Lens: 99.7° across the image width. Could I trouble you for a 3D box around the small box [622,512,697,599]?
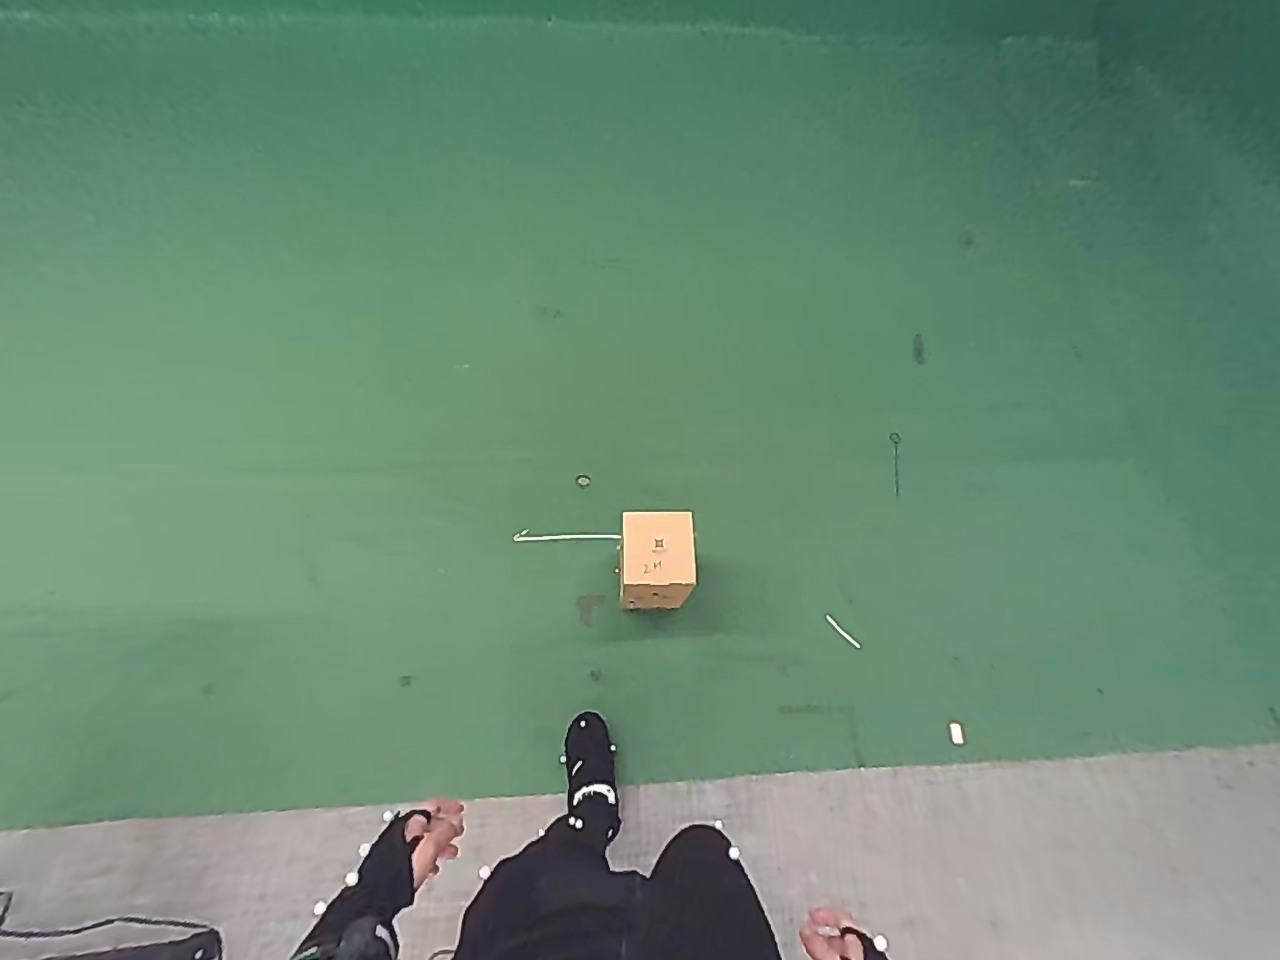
[{"bbox_3d":[0.041,0.187,1.312,0.168,0.176,0.179,0,68,-3],"label":"small box"}]
